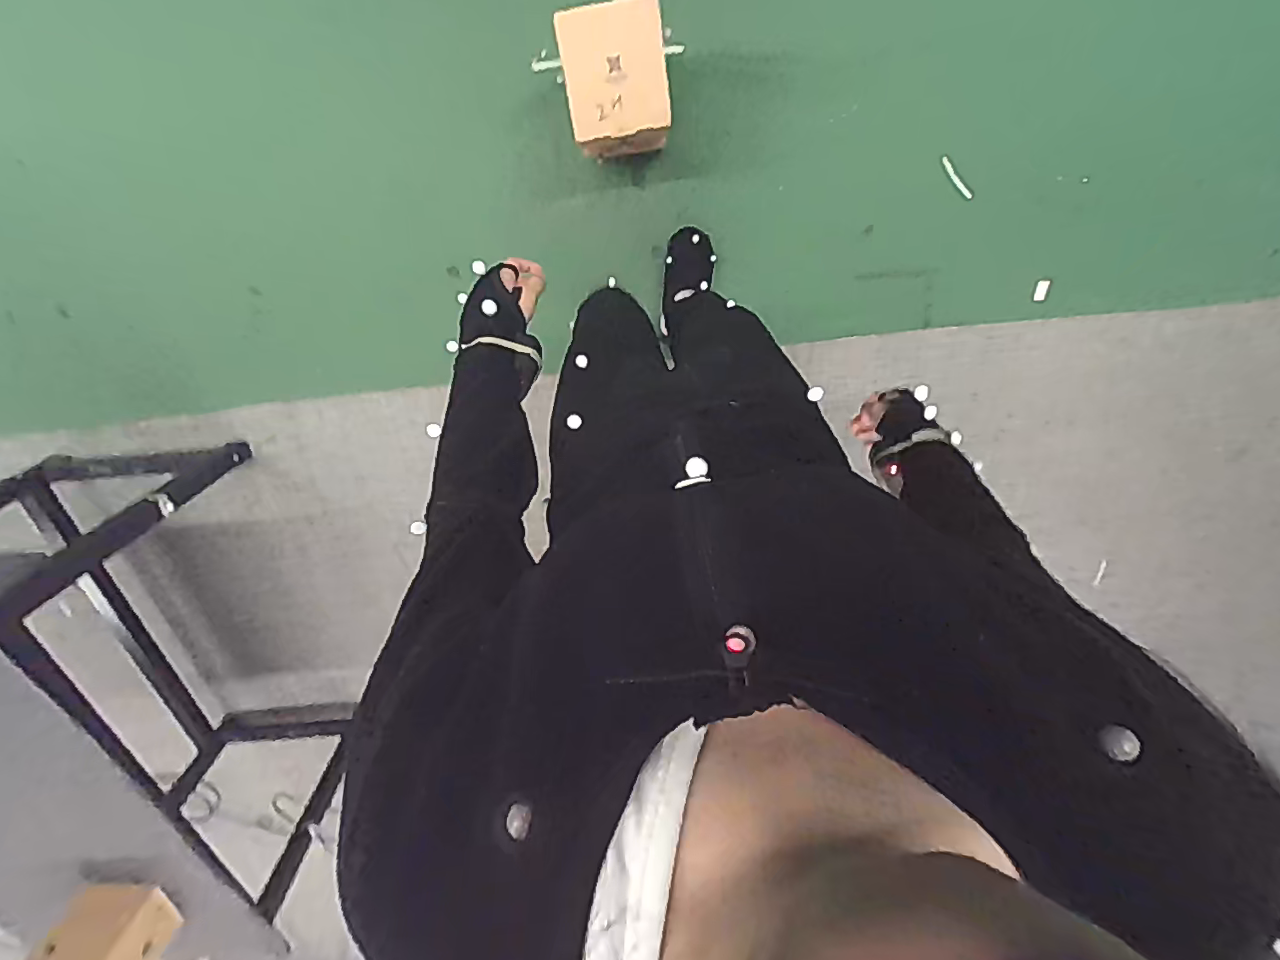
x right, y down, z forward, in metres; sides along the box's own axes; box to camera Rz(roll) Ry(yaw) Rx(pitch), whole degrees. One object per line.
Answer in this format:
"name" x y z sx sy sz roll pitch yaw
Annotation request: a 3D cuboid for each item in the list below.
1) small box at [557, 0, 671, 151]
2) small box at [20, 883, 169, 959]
"small box" -0.040 -0.690 0.940 0.168 0.176 0.179 -7 118 4
"small box" -1.227 1.048 1.226 0.179 0.176 0.168 1 118 0
